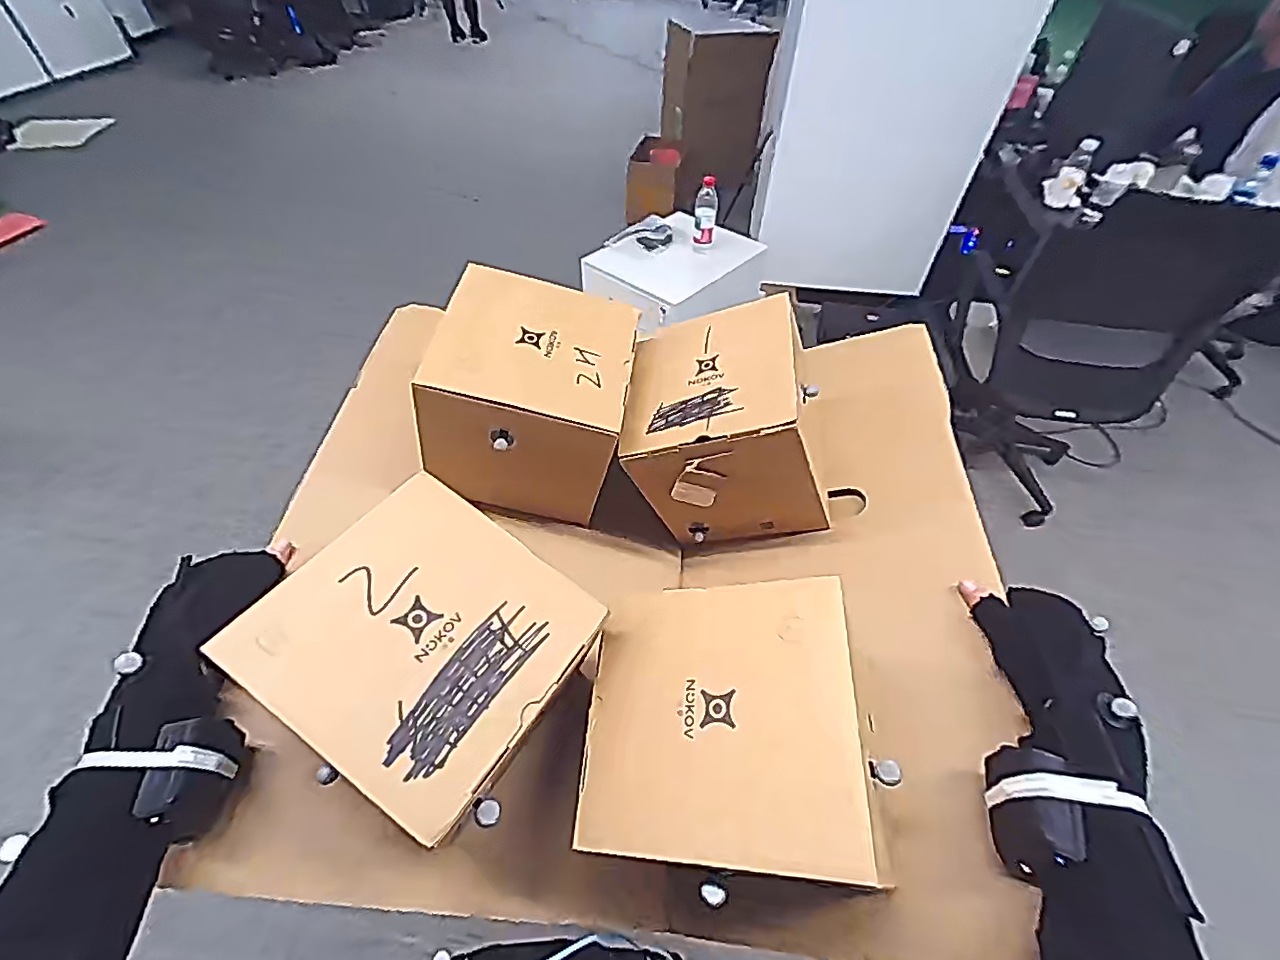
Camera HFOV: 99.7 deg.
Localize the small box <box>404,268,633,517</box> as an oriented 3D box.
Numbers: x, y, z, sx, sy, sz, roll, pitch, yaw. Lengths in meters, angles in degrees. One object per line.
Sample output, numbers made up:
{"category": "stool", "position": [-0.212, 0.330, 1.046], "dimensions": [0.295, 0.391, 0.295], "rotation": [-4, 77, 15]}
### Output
{"category": "small box", "position": [-0.118, -0.080, 0.558], "dimensions": [0.179, 0.176, 0.168], "rotation": [14, 56, -8]}
